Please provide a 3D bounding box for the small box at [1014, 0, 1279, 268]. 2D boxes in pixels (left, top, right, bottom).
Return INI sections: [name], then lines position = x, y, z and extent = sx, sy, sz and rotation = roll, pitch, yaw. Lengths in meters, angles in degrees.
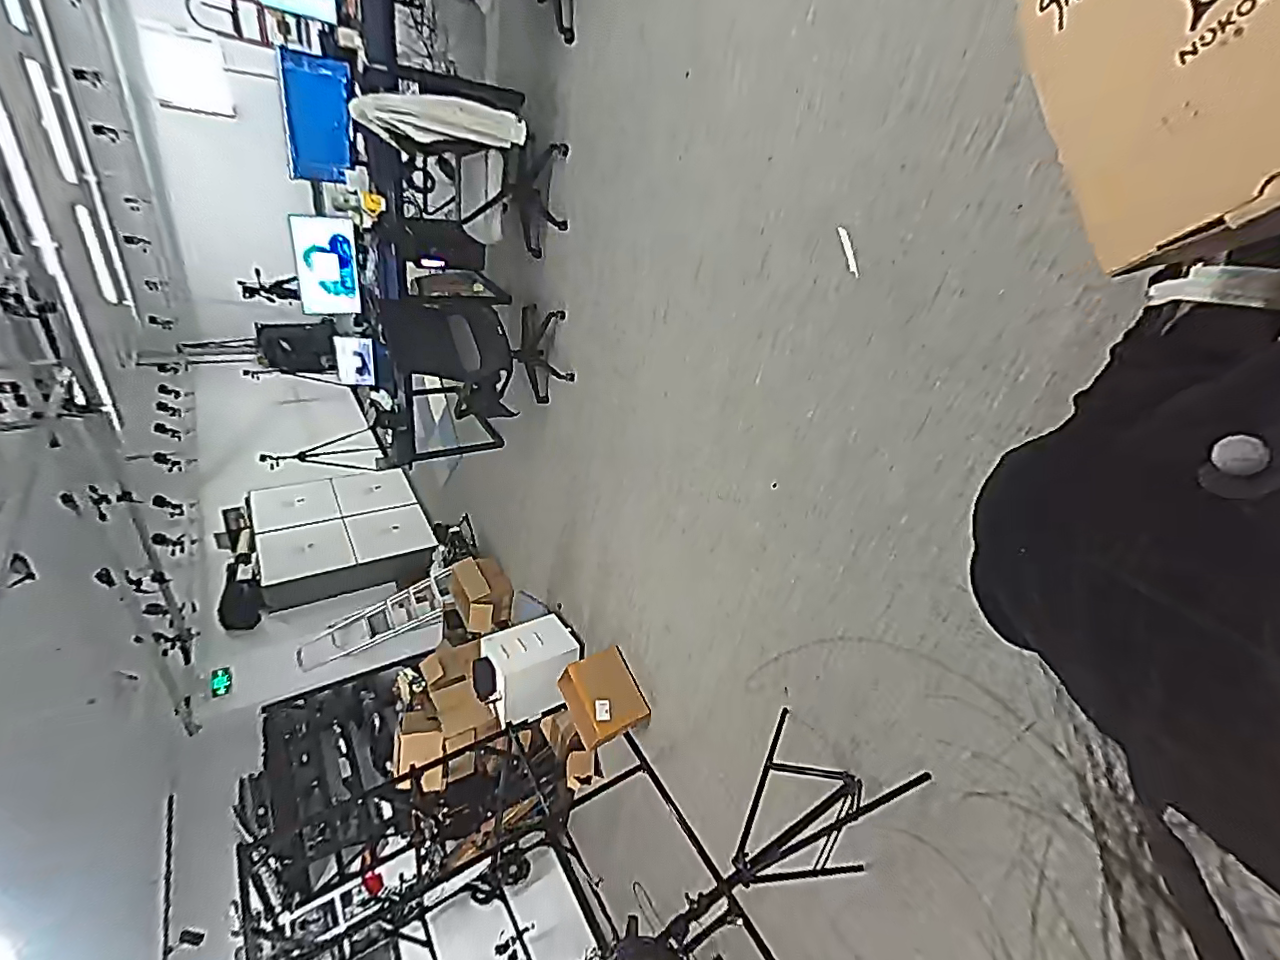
[small box]
position = 0.325, -0.229, 0.237
extent = 0.168, 0.176, 0.179
rotation = 139, 114, -83
